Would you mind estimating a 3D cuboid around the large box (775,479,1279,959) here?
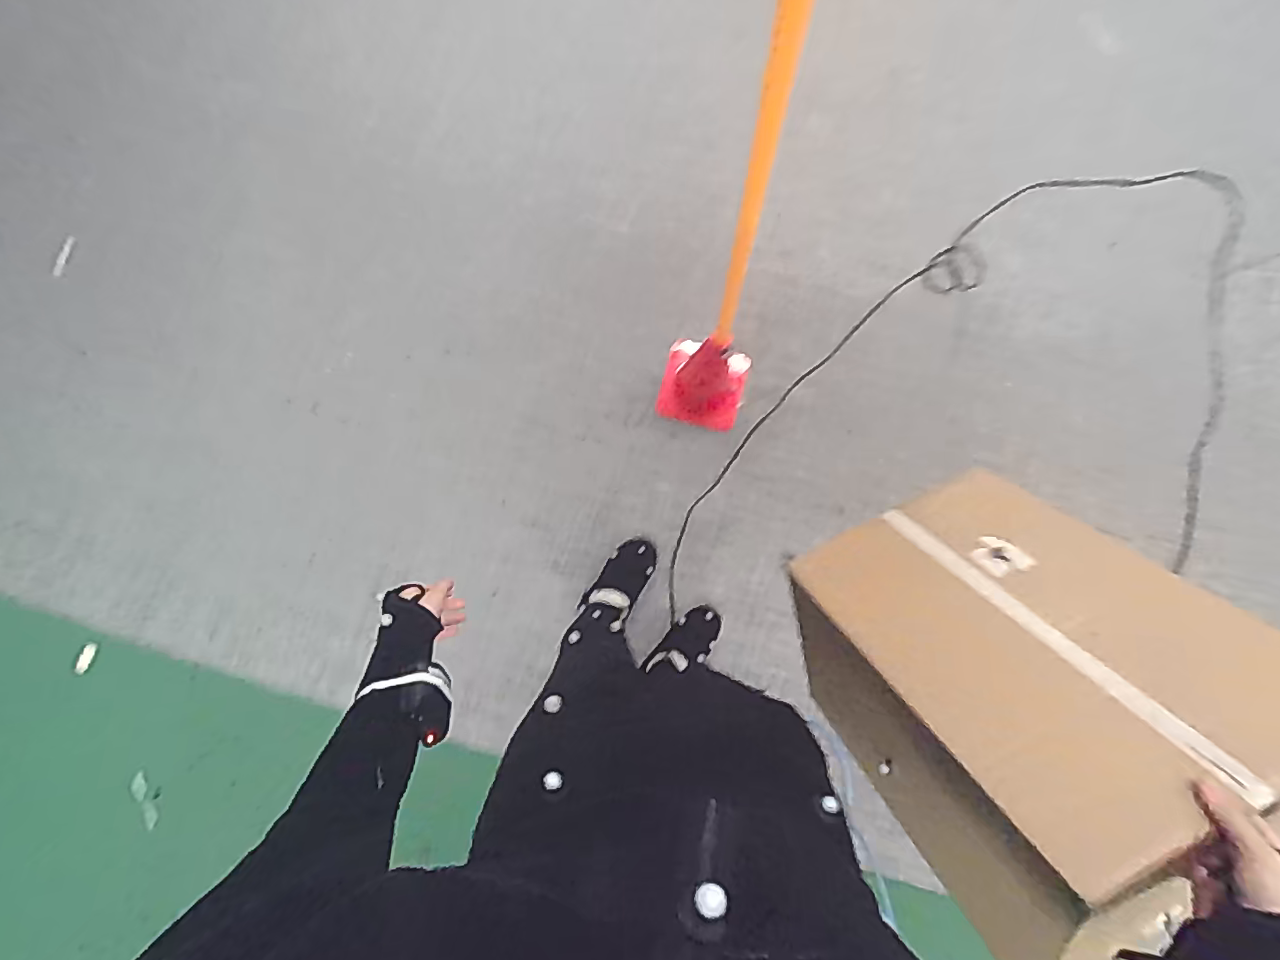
[{"bbox_3d":[0.422,0.269,0.653,0.320,0.408,0.320,-24,124,-7],"label":"large box"}]
